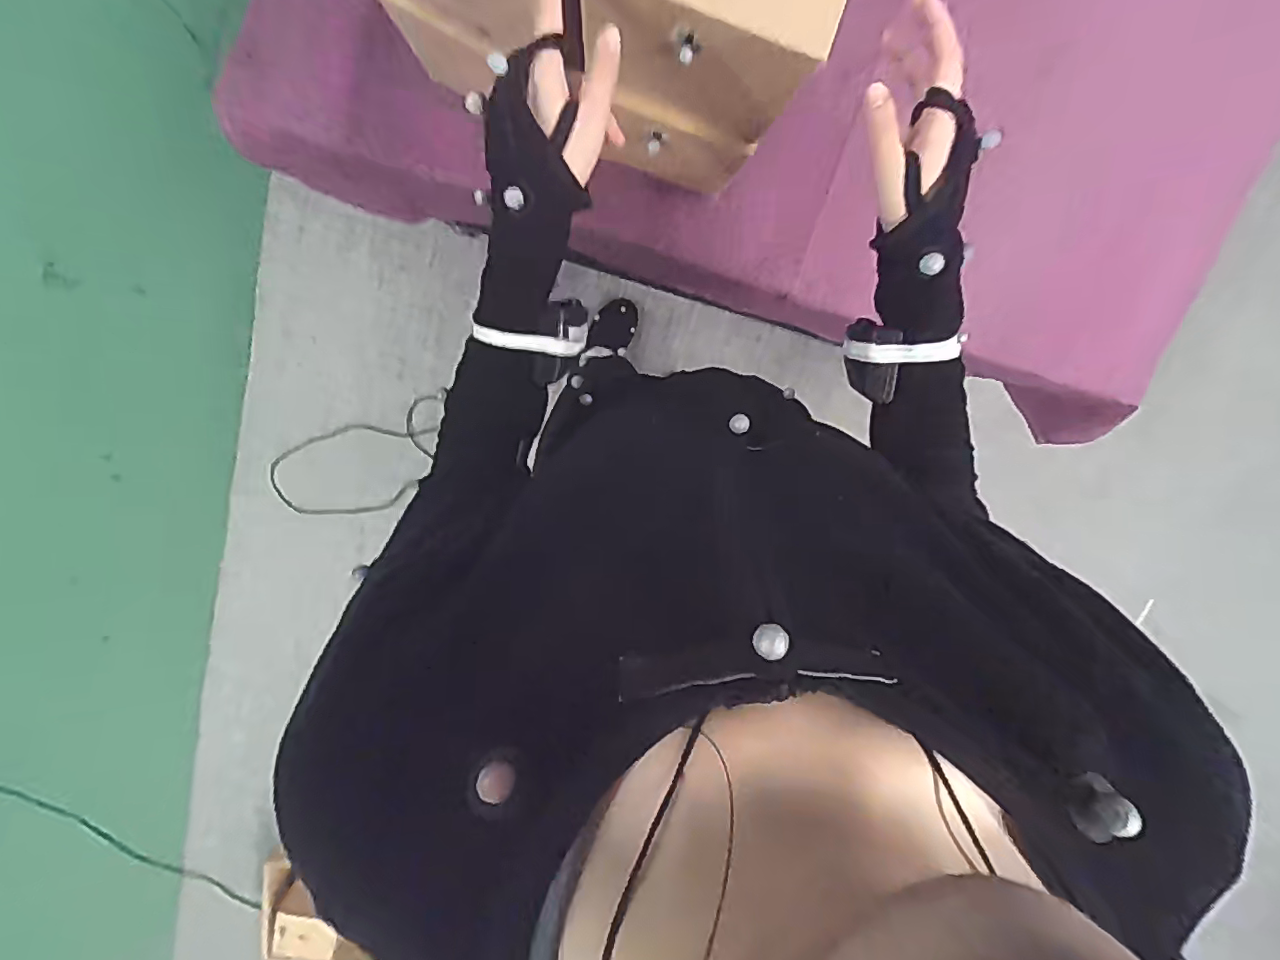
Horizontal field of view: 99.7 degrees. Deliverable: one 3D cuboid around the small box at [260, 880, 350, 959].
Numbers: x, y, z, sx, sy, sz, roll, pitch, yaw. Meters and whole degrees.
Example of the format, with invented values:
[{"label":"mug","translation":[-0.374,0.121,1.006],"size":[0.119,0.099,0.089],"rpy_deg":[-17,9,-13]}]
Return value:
[{"label":"small box","translation":[-1.006,1.354,1.631],"size":[0.179,0.176,0.168],"rpy_deg":[14,101,-8]}]
